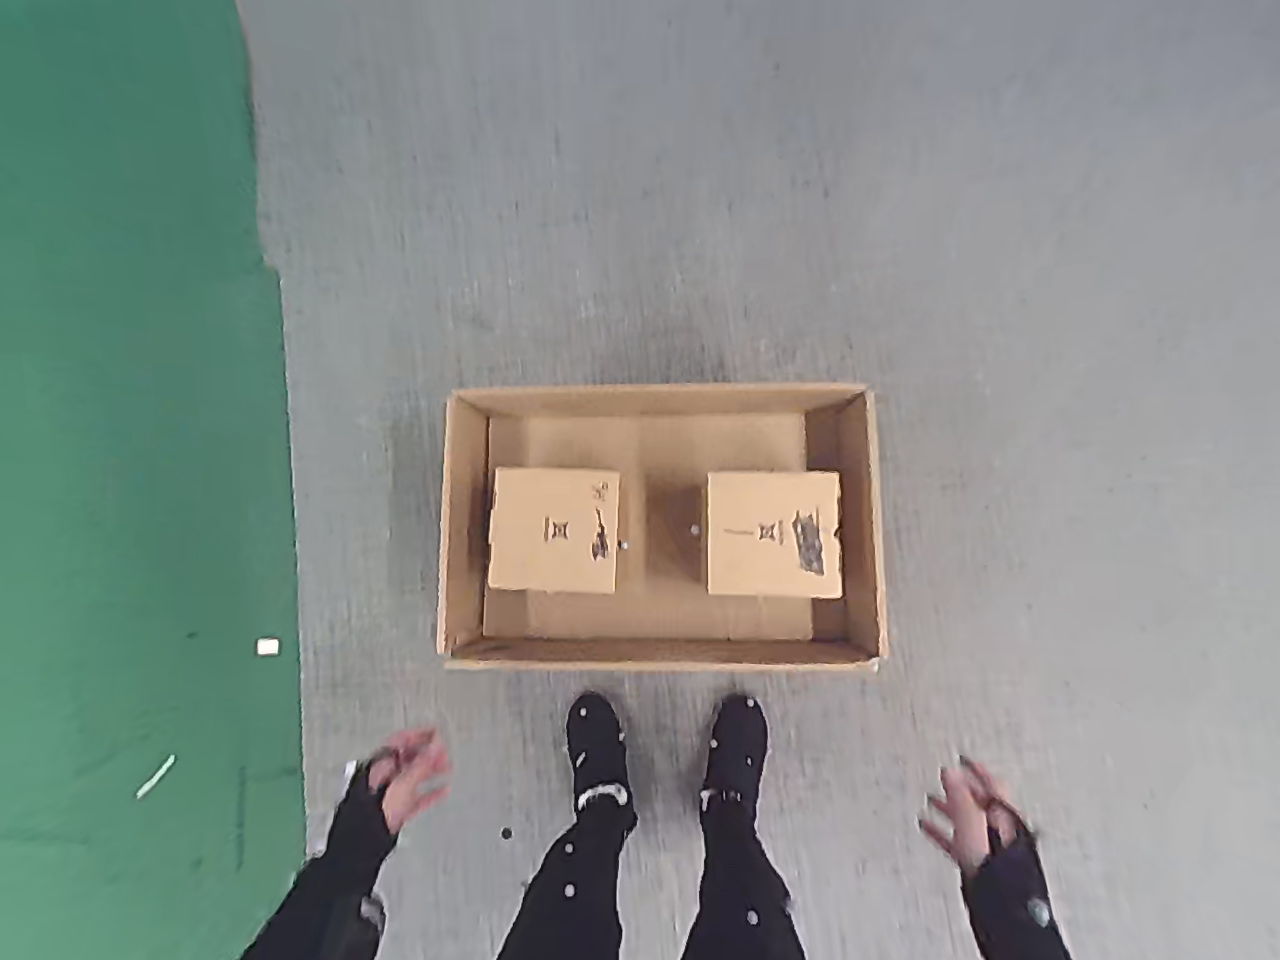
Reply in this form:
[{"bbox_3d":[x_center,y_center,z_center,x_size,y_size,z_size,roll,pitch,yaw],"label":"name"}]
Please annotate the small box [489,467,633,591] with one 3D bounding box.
[{"bbox_3d":[-0.109,0.076,0.817,0.179,0.176,0.168,2,83,5],"label":"small box"}]
